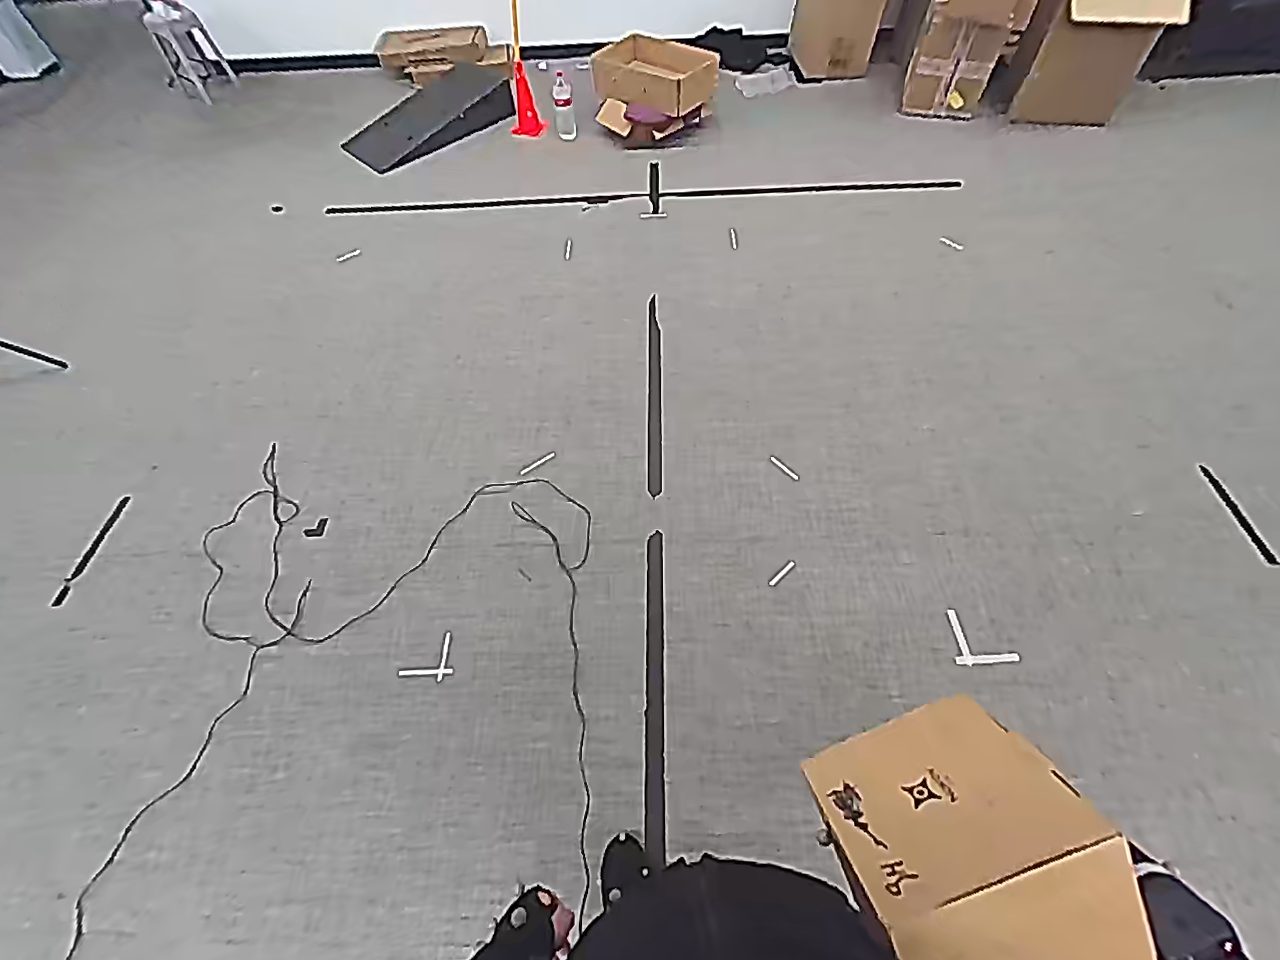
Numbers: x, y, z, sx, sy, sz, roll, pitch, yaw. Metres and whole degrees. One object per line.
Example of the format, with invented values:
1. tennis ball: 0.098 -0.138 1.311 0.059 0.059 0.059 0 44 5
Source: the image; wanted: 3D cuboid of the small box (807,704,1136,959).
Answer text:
1. small box: 0.278 0.341 0.472 0.179 0.168 0.176 -23 100 0
